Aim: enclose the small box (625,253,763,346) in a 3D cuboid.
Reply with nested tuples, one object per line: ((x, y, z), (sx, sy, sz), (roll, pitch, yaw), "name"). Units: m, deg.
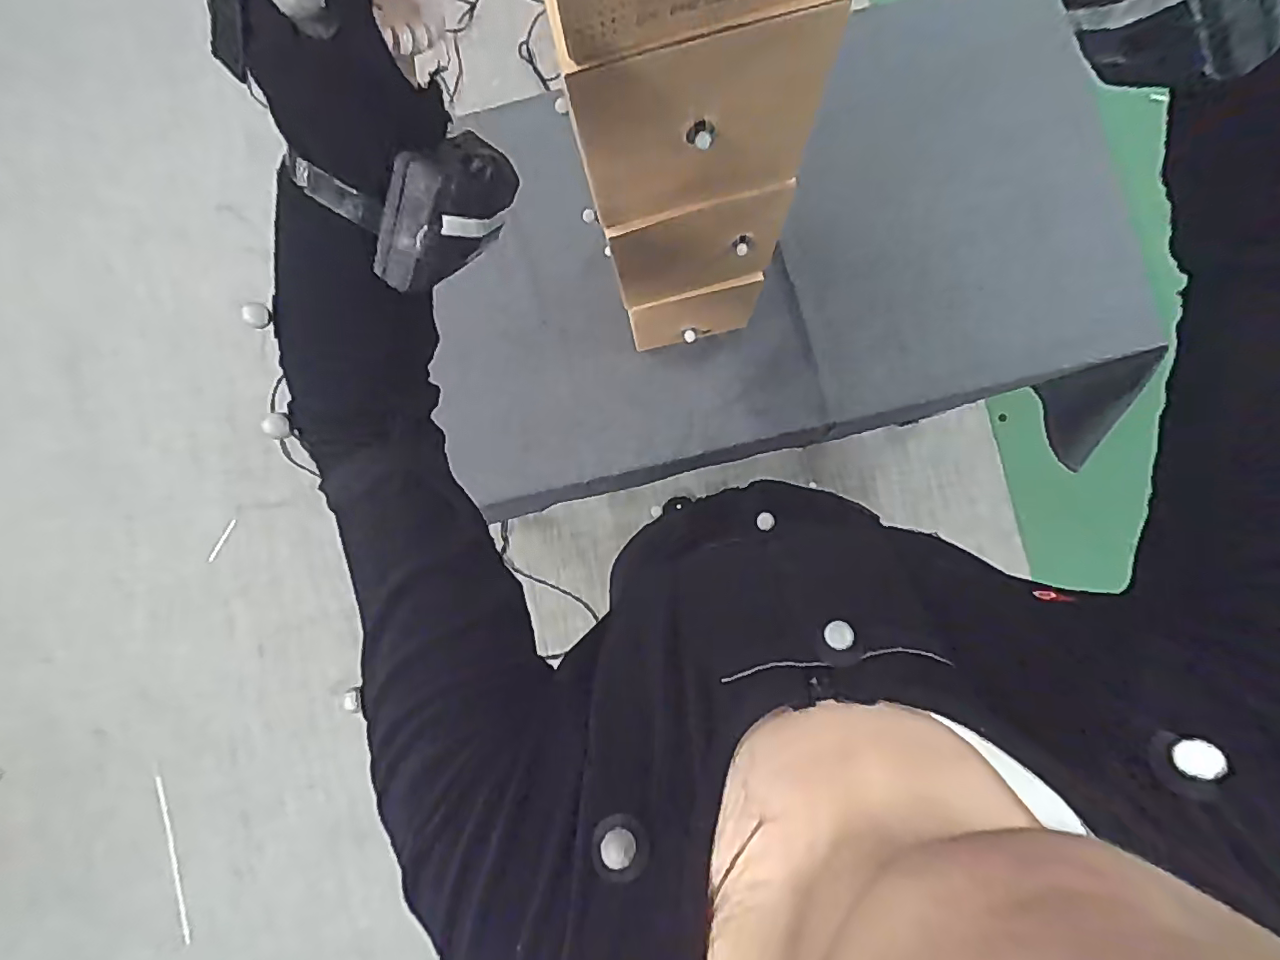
((0.053, -0.301, 0.720), (0.168, 0.176, 0.179), (-12, 86, 3), "small box")

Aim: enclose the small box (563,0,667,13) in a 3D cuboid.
((0.011, -0.358, 0.235), (0.168, 0.176, 0.179), (-14, 85, 3), "small box")

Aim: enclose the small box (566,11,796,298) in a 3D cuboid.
((0.038, -0.314, 0.559), (0.179, 0.176, 0.168), (-15, 84, 3), "small box")
